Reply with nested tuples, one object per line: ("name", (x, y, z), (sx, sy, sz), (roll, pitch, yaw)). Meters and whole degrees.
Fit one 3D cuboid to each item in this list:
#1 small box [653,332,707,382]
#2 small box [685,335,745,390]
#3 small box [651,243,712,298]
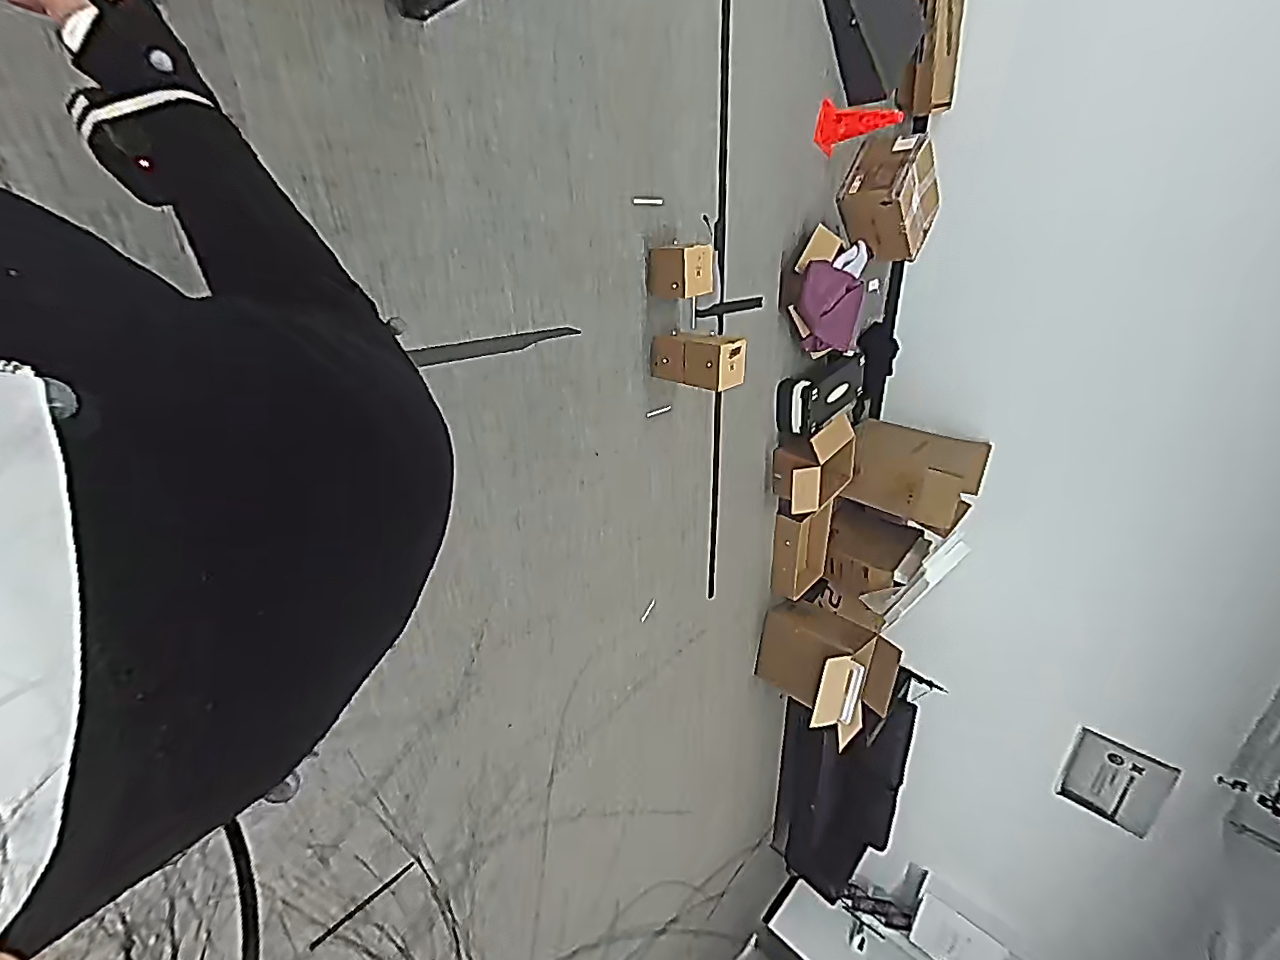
("small box", (0.167, -0.502, 2.193), (0.179, 0.176, 0.168), (-23, 123, -40))
("small box", (0.286, -0.460, 2.086), (0.168, 0.176, 0.179), (-25, 125, -40))
("small box", (0.155, -0.796, 2.046), (0.168, 0.176, 0.179), (-28, 125, -38))
